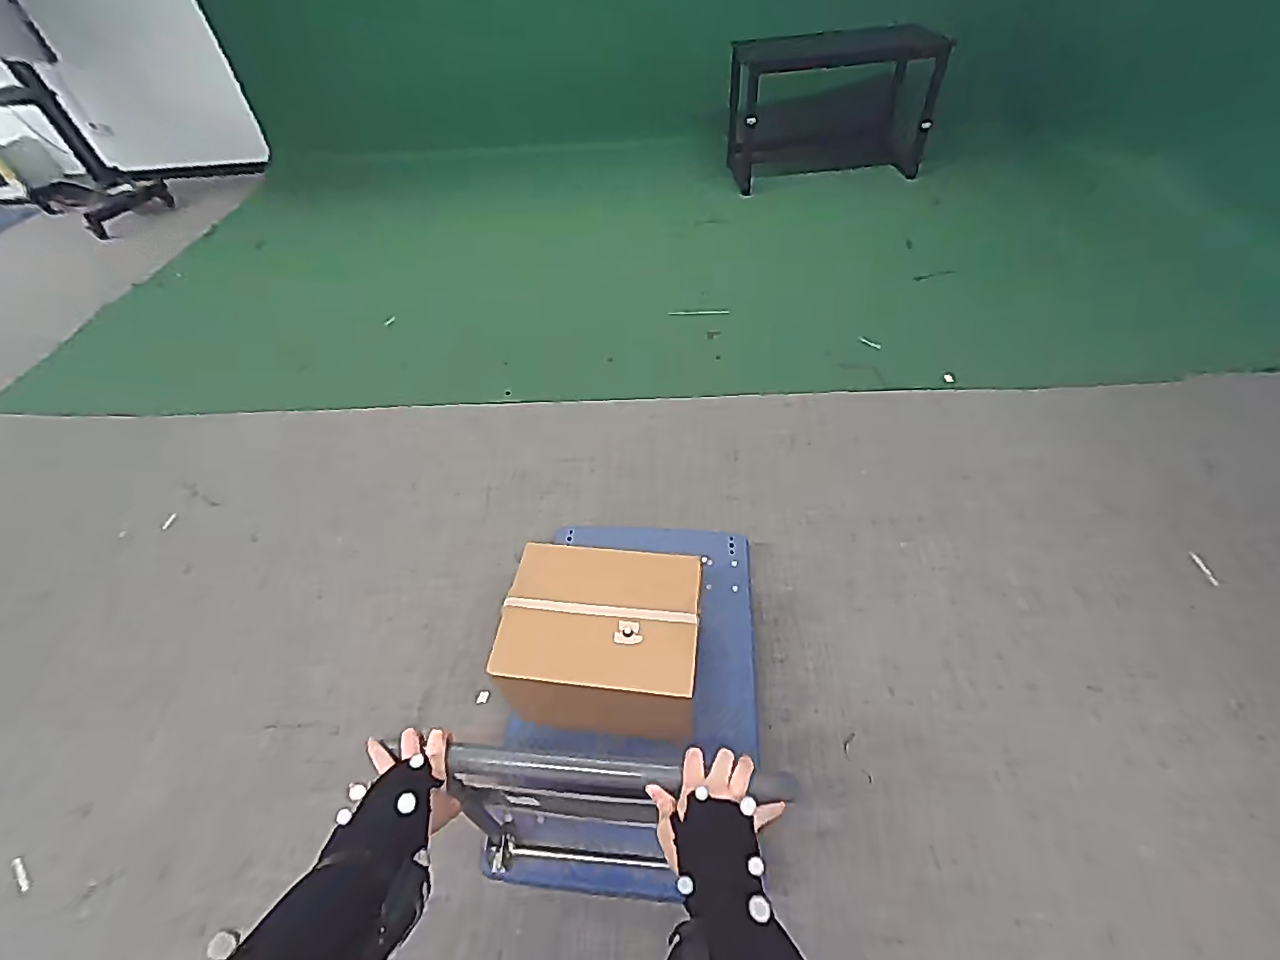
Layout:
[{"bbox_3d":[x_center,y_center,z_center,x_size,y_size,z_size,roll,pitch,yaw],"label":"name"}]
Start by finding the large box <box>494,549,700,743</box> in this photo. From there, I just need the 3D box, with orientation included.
[{"bbox_3d":[-0.075,0.385,1.255,0.408,0.320,0.320,4,49,6],"label":"large box"}]
